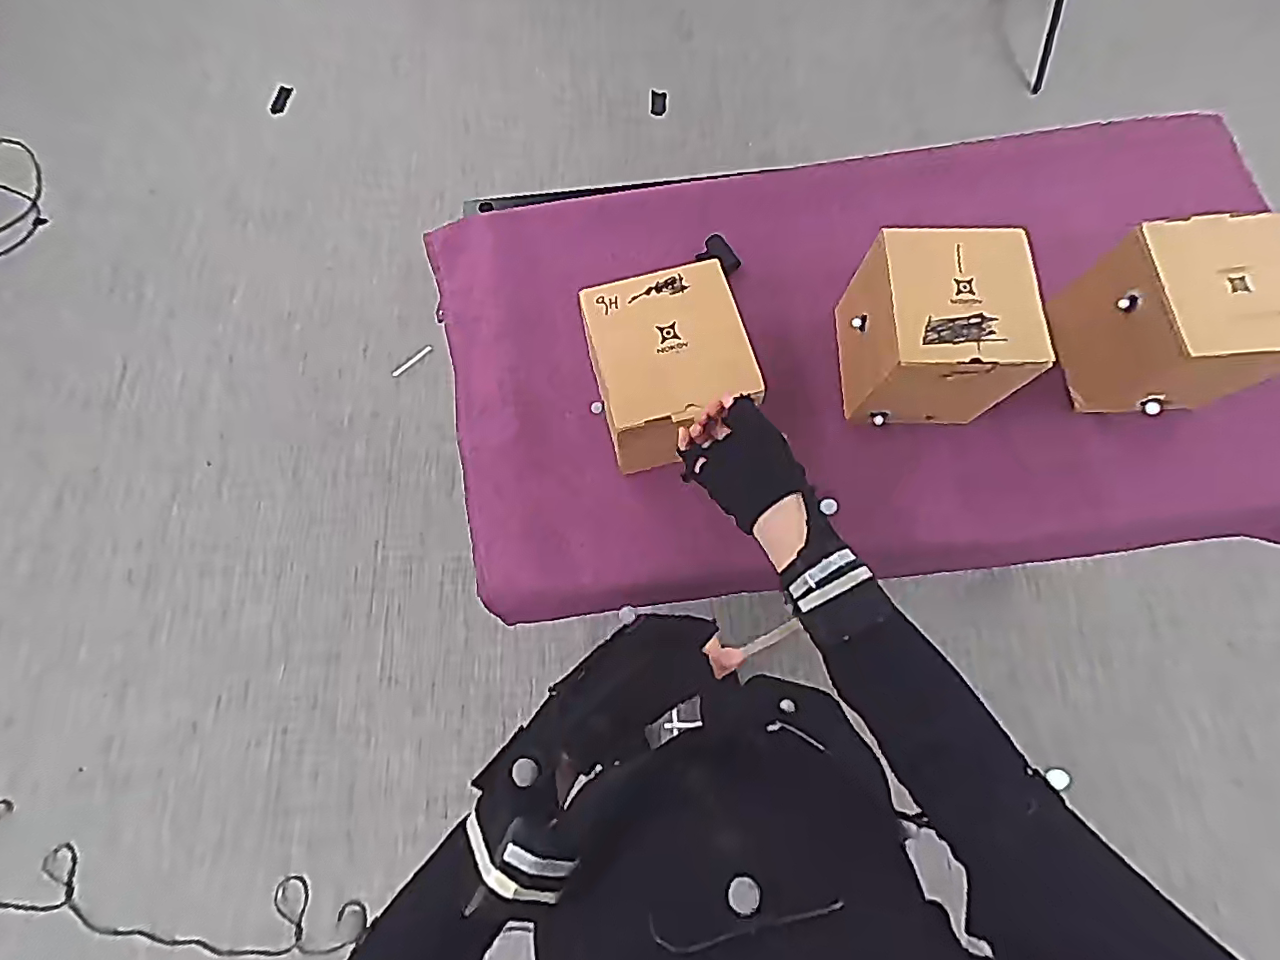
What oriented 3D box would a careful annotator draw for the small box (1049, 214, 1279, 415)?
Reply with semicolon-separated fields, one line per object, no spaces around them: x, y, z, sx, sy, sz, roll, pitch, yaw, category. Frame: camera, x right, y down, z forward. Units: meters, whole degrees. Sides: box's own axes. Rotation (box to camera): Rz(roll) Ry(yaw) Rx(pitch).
0.662;-0.198;0.678;0.168;0.176;0.179;-4;75;1;small box

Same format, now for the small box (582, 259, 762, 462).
0.034;-0.132;0.667;0.168;0.176;0.179;-14;75;-4;small box

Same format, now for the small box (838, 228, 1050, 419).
0.360;-0.185;0.677;0.168;0.176;0.179;1;73;1;small box
